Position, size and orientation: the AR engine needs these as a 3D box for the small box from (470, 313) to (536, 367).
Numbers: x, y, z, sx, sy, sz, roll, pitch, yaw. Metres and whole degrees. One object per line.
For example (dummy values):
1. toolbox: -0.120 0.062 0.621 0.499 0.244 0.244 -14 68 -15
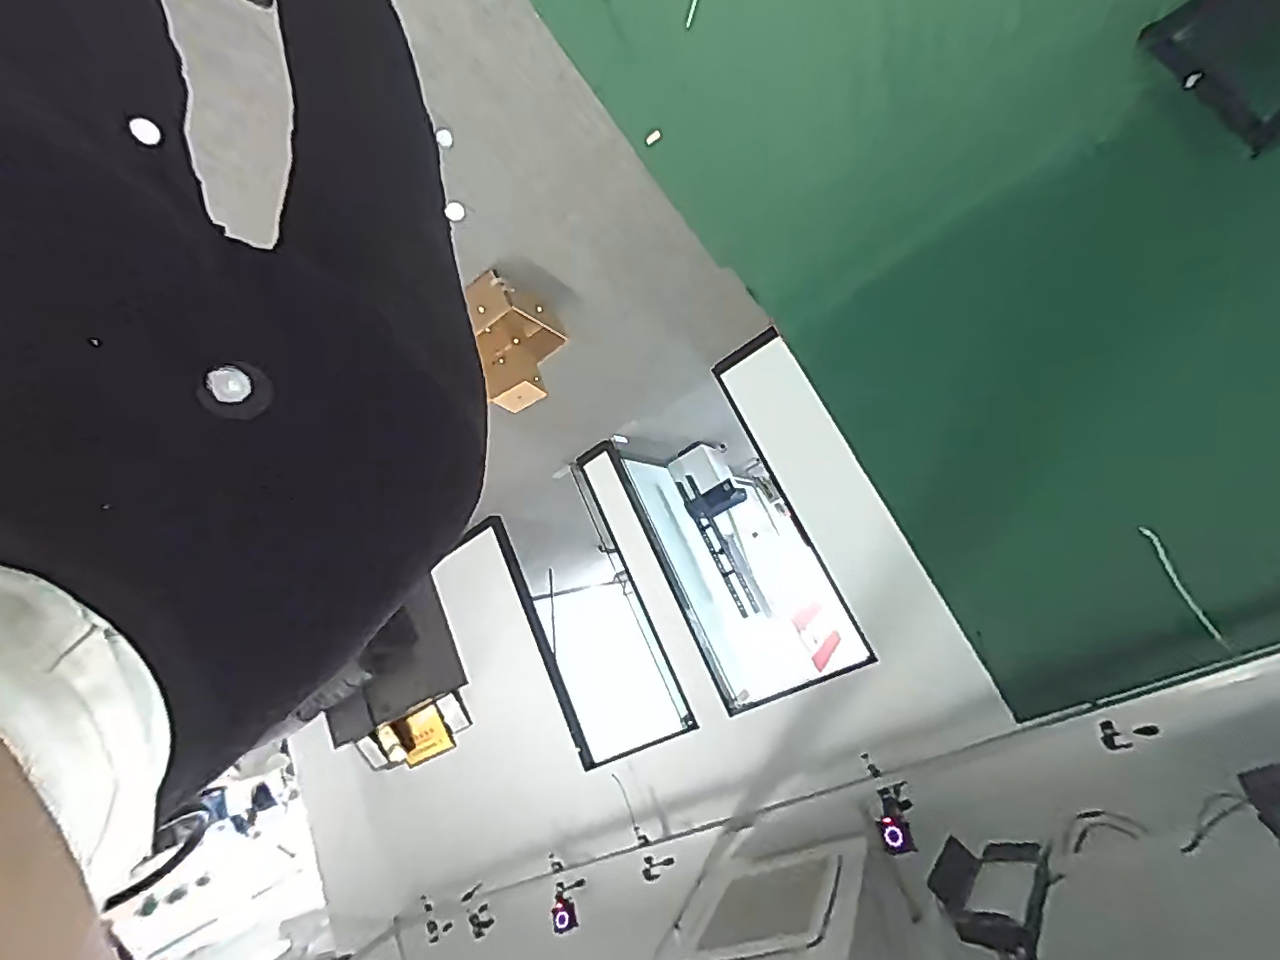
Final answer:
1. small box: -0.557 -0.548 2.197 0.168 0.176 0.179 -27 163 17

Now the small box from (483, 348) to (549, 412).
1. small box: -0.494 -0.402 2.159 0.168 0.176 0.179 -26 164 13
